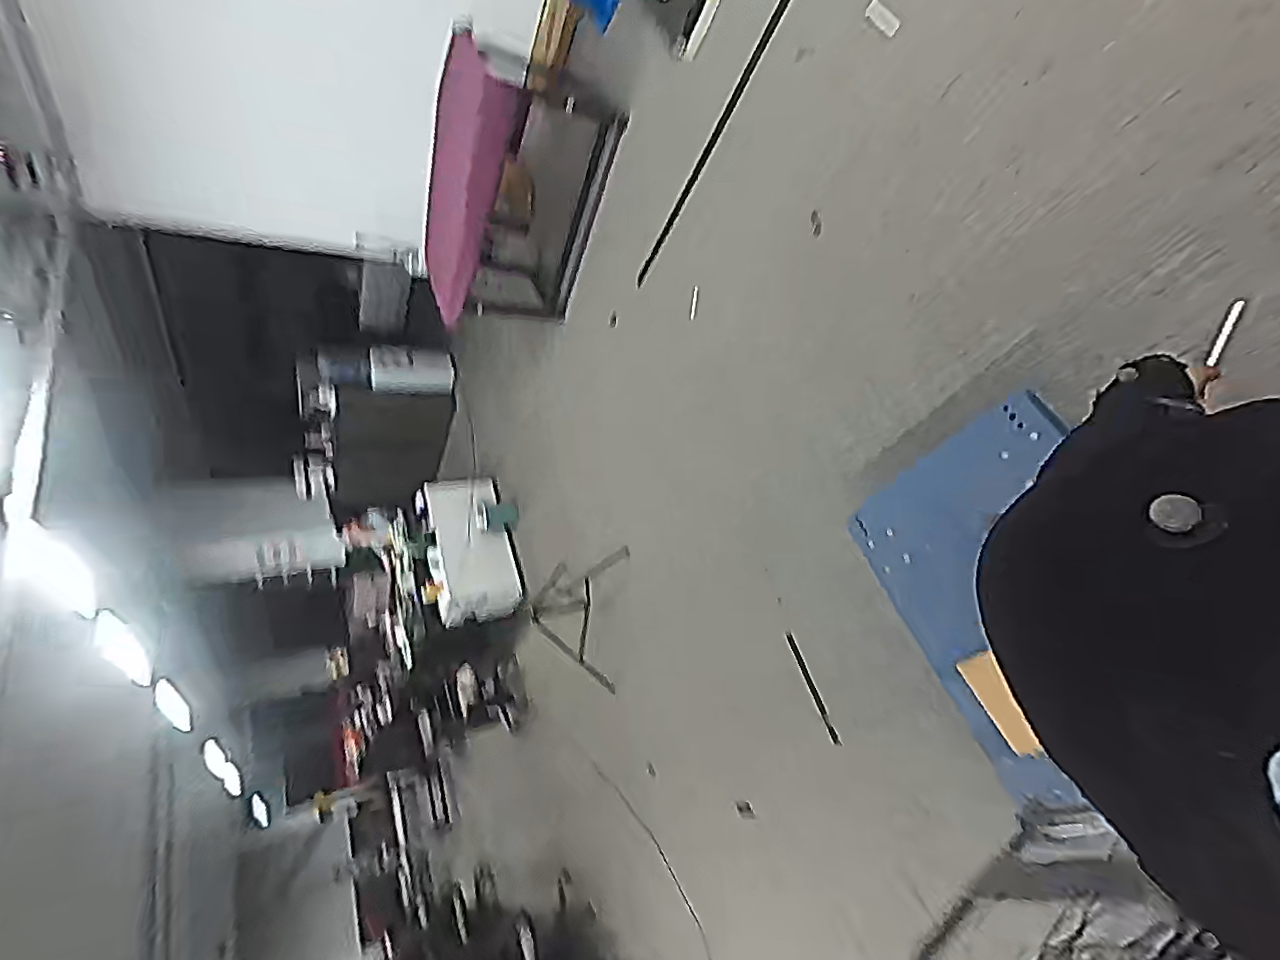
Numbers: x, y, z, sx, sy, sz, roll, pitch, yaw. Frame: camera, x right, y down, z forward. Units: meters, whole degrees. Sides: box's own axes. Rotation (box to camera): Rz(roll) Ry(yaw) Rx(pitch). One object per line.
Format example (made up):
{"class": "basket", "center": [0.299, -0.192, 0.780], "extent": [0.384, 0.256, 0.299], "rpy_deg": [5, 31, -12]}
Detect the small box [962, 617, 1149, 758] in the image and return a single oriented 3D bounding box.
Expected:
{"class": "small box", "center": [0.735, 0.365, 0.961], "extent": [0.179, 0.176, 0.168], "rpy_deg": [-57, 49, 43]}
